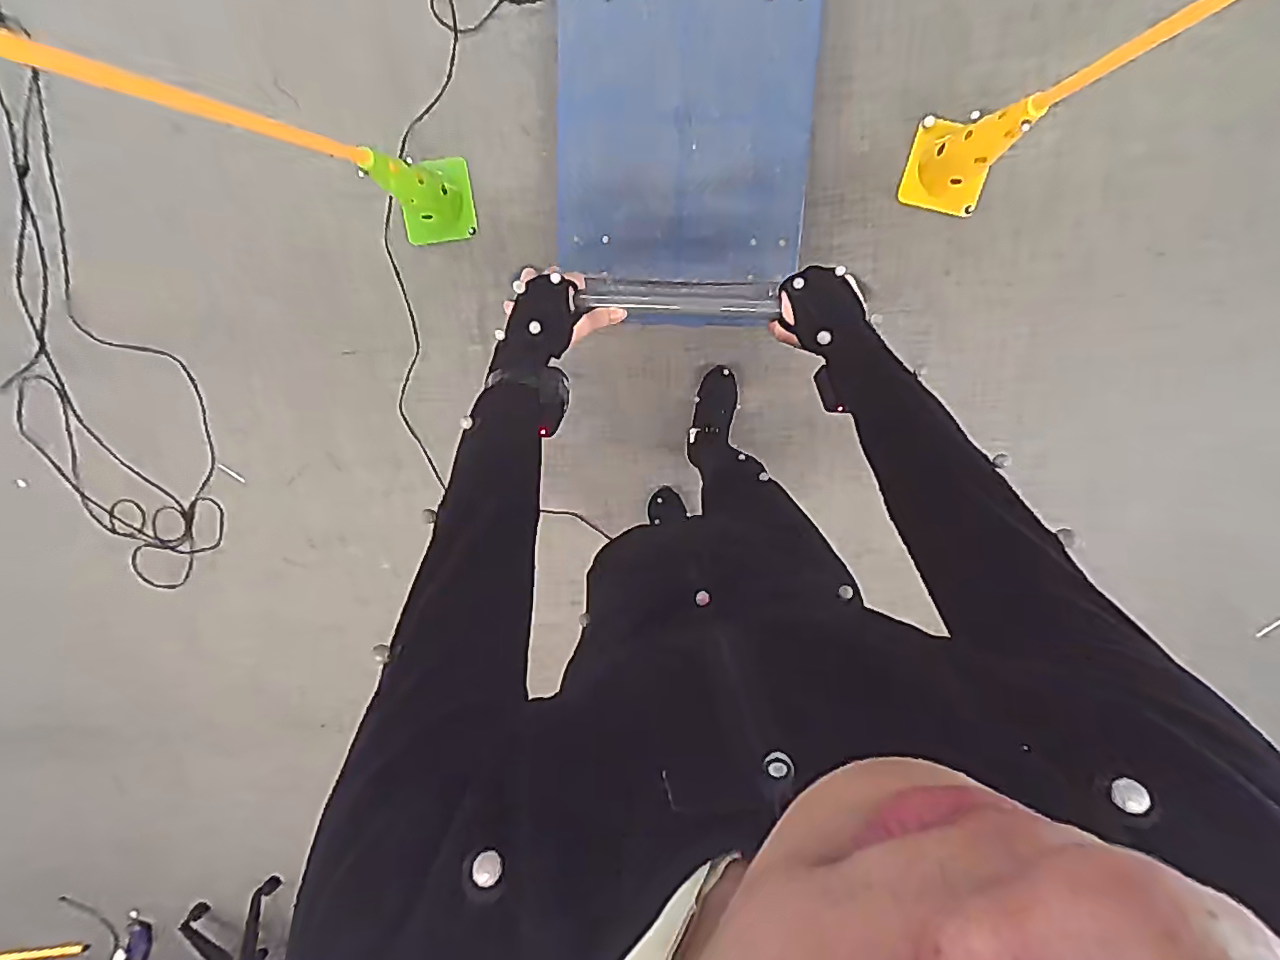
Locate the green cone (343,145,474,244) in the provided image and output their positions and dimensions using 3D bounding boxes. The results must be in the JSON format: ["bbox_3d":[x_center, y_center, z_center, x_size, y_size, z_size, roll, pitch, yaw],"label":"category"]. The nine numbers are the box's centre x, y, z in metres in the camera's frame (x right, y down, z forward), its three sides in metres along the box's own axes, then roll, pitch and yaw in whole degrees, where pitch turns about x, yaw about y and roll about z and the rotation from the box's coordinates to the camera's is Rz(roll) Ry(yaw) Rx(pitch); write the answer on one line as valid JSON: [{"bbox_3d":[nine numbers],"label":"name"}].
[{"bbox_3d":[-0.569,-0.710,1.280,0.202,0.368,0.200,-6,102,7],"label":"green cone"}]
